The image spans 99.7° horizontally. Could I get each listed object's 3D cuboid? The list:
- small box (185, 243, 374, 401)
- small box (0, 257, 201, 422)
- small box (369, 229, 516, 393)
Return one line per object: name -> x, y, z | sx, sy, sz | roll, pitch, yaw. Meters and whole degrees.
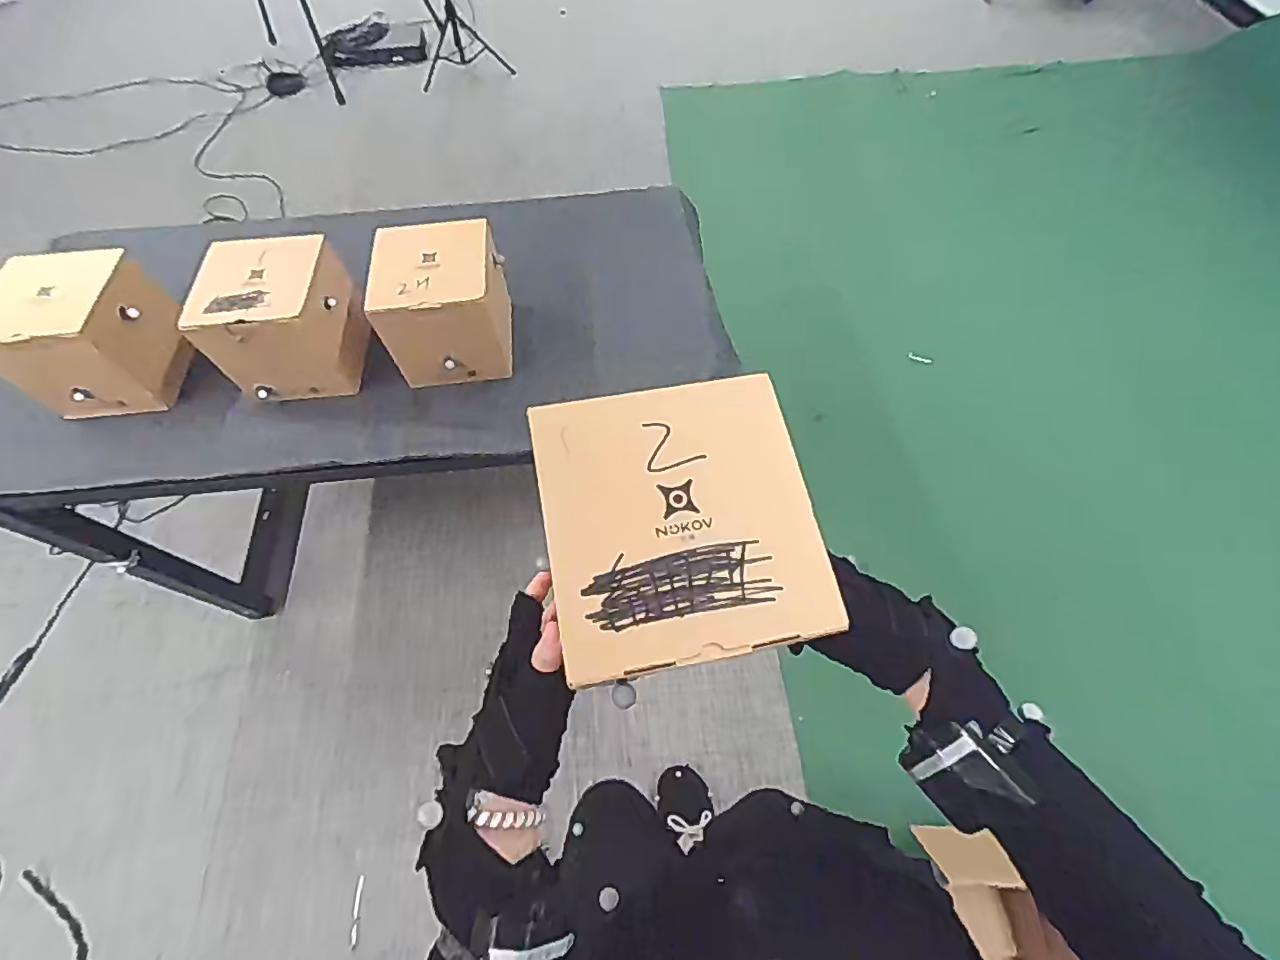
small box -> -0.536, -0.235, 0.837 | 0.168, 0.176, 0.179 | -5, 60, -2
small box -> -0.823, -0.211, 0.827 | 0.168, 0.176, 0.179 | -6, 60, -3
small box -> -0.295, -0.261, 0.847 | 0.168, 0.176, 0.179 | -7, 61, -2
